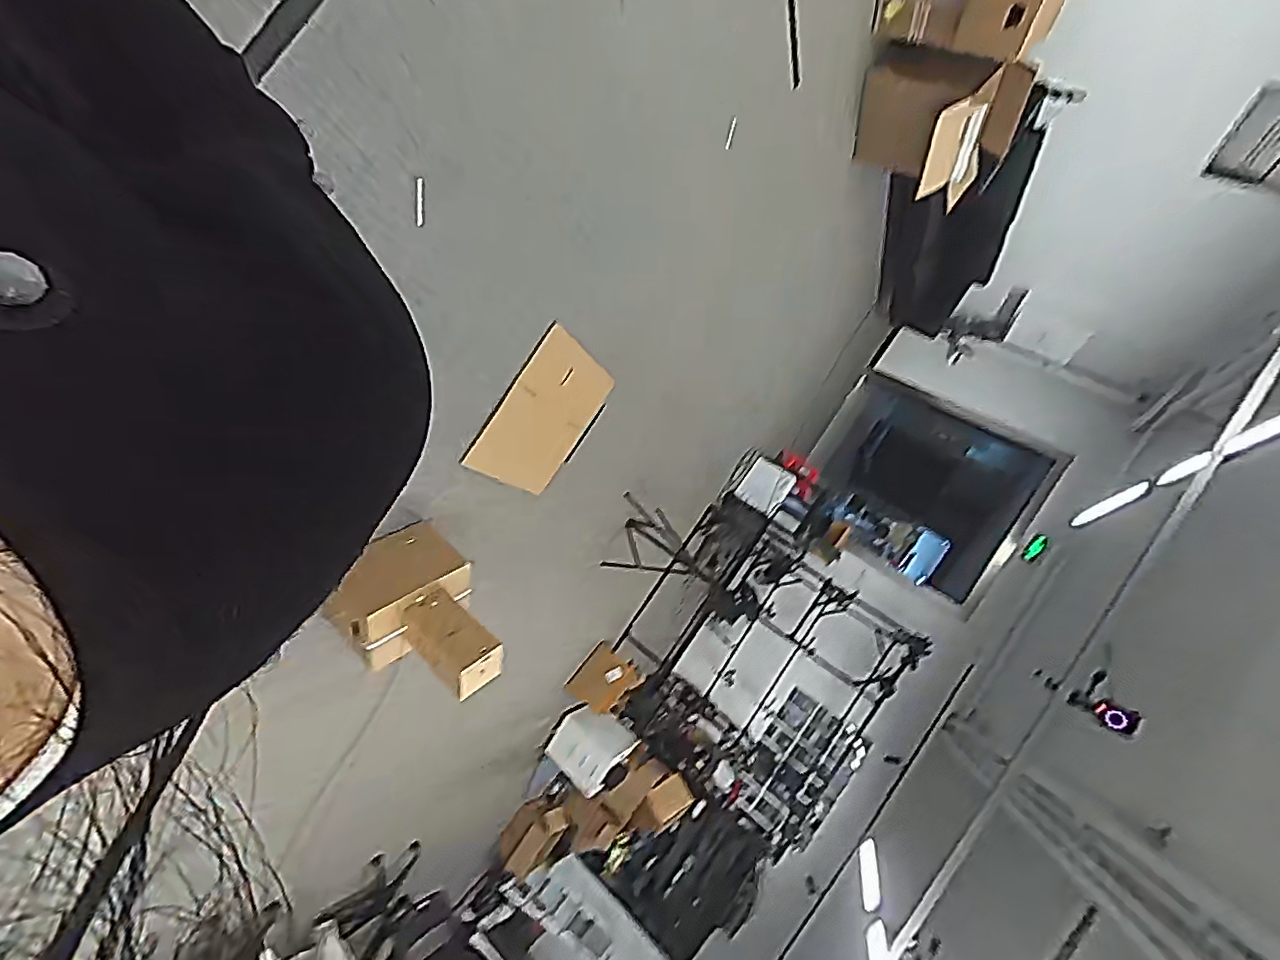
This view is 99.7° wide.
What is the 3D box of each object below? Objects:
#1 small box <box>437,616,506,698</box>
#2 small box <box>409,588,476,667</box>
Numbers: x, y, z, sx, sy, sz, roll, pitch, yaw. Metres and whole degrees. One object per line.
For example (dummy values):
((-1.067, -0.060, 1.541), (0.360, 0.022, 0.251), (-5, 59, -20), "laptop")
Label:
((-0.588, 0.609, 1.876), (0.168, 0.176, 0.179), (-30, 144, -44), "small box")
((-0.711, 0.524, 1.945), (0.168, 0.176, 0.179), (-29, 143, -44), "small box")
